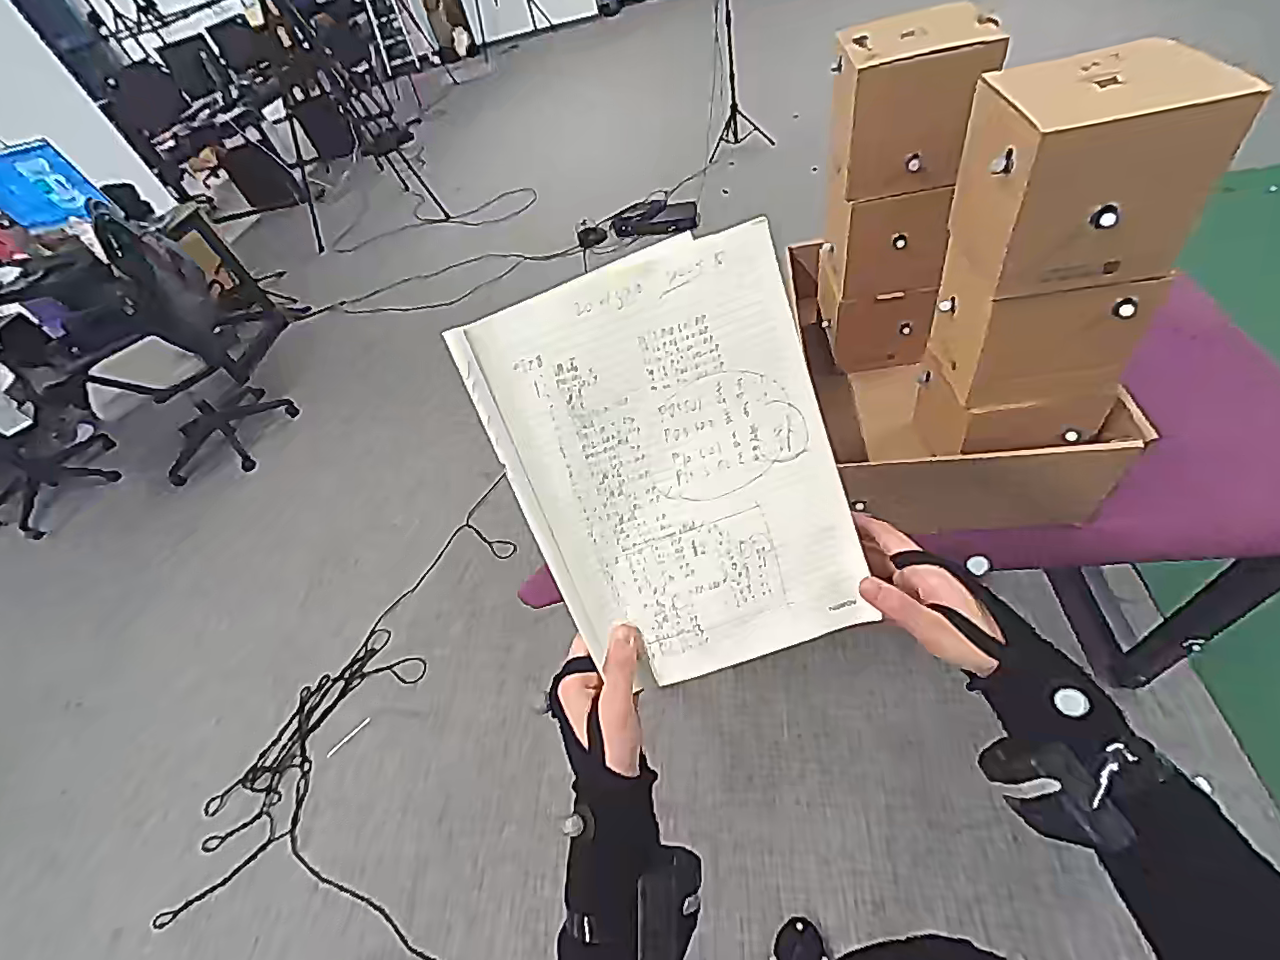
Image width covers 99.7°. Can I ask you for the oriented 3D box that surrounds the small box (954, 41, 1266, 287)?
[{"bbox_3d":[0.454,-0.317,0.566,0.168,0.176,0.179,-4,48,12],"label":"small box"}]

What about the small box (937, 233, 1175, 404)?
[{"bbox_3d":[0.495,-0.212,0.686,0.179,0.176,0.168,-4,49,12],"label":"small box"}]

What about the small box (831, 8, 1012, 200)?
[{"bbox_3d":[0.380,-0.527,0.769,0.179,0.176,0.168,-4,51,11],"label":"small box"}]

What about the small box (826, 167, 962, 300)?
[{"bbox_3d":[0.414,-0.423,0.891,0.179,0.176,0.168,-6,50,10],"label":"small box"}]
